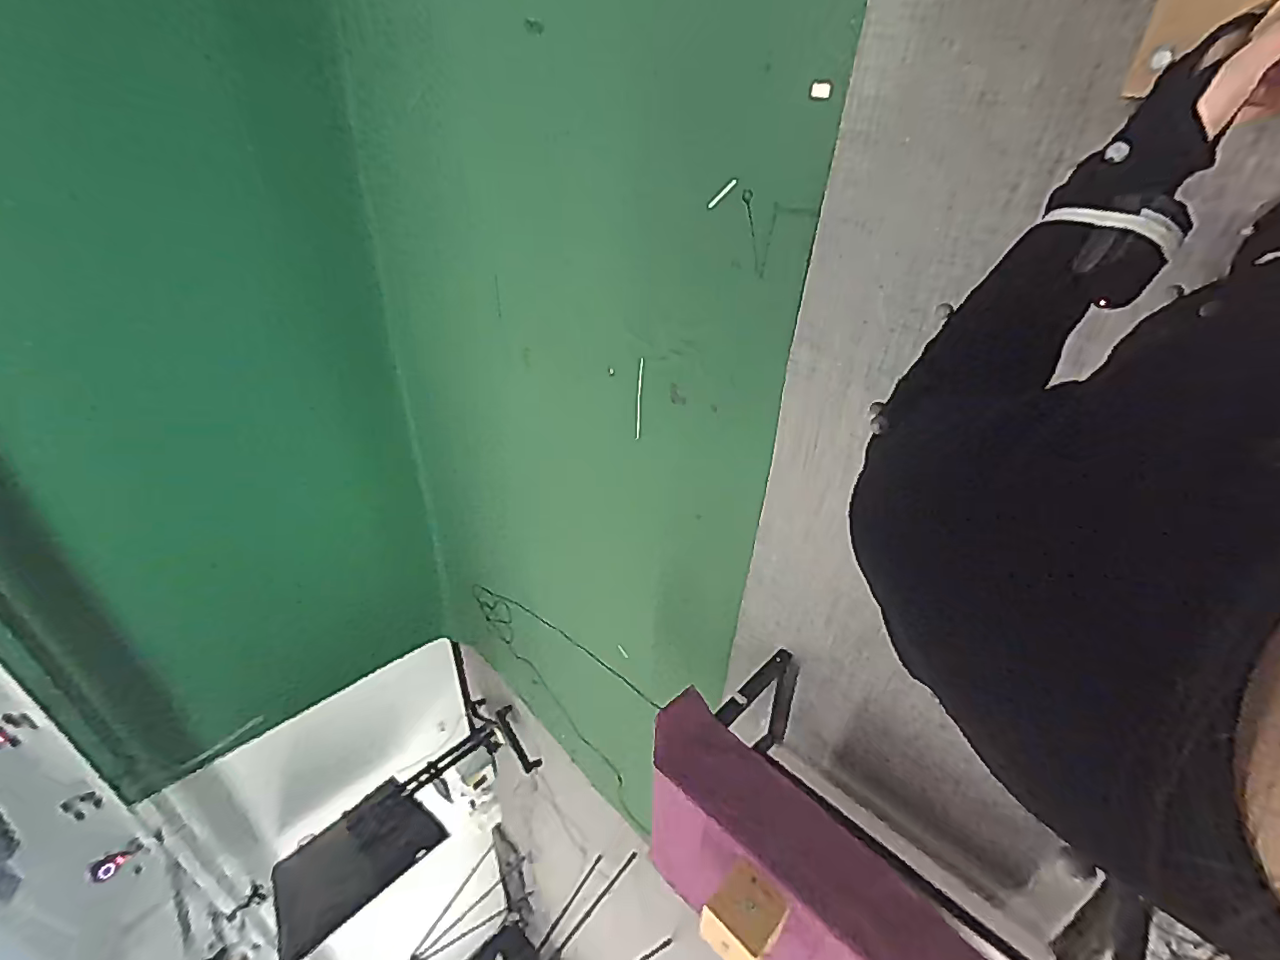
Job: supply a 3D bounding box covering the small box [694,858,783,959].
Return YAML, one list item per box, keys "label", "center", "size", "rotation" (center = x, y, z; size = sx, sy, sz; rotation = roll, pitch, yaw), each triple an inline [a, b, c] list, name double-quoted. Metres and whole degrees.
- label: "small box"
  center: [0.269, 1.194, 1.480]
  size: [0.168, 0.176, 0.179]
  rotation: [29, 130, 37]
